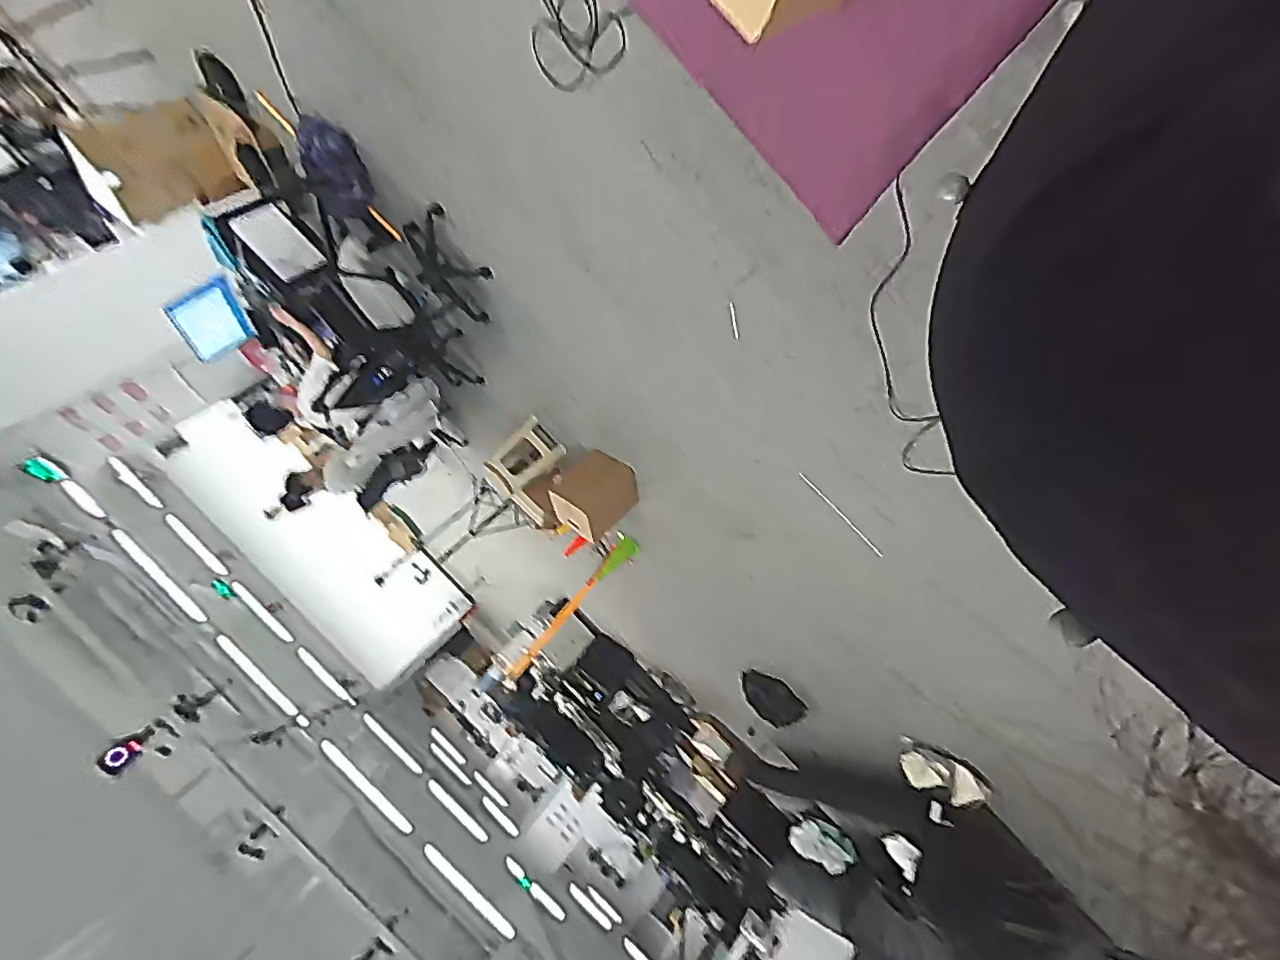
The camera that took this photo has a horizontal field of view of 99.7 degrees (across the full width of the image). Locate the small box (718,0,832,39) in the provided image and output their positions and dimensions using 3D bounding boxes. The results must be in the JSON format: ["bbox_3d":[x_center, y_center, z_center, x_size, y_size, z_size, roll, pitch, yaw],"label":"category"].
[{"bbox_3d":[0.138,-0.553,0.481,0.179,0.176,0.168,47,153,-2],"label":"small box"}]
